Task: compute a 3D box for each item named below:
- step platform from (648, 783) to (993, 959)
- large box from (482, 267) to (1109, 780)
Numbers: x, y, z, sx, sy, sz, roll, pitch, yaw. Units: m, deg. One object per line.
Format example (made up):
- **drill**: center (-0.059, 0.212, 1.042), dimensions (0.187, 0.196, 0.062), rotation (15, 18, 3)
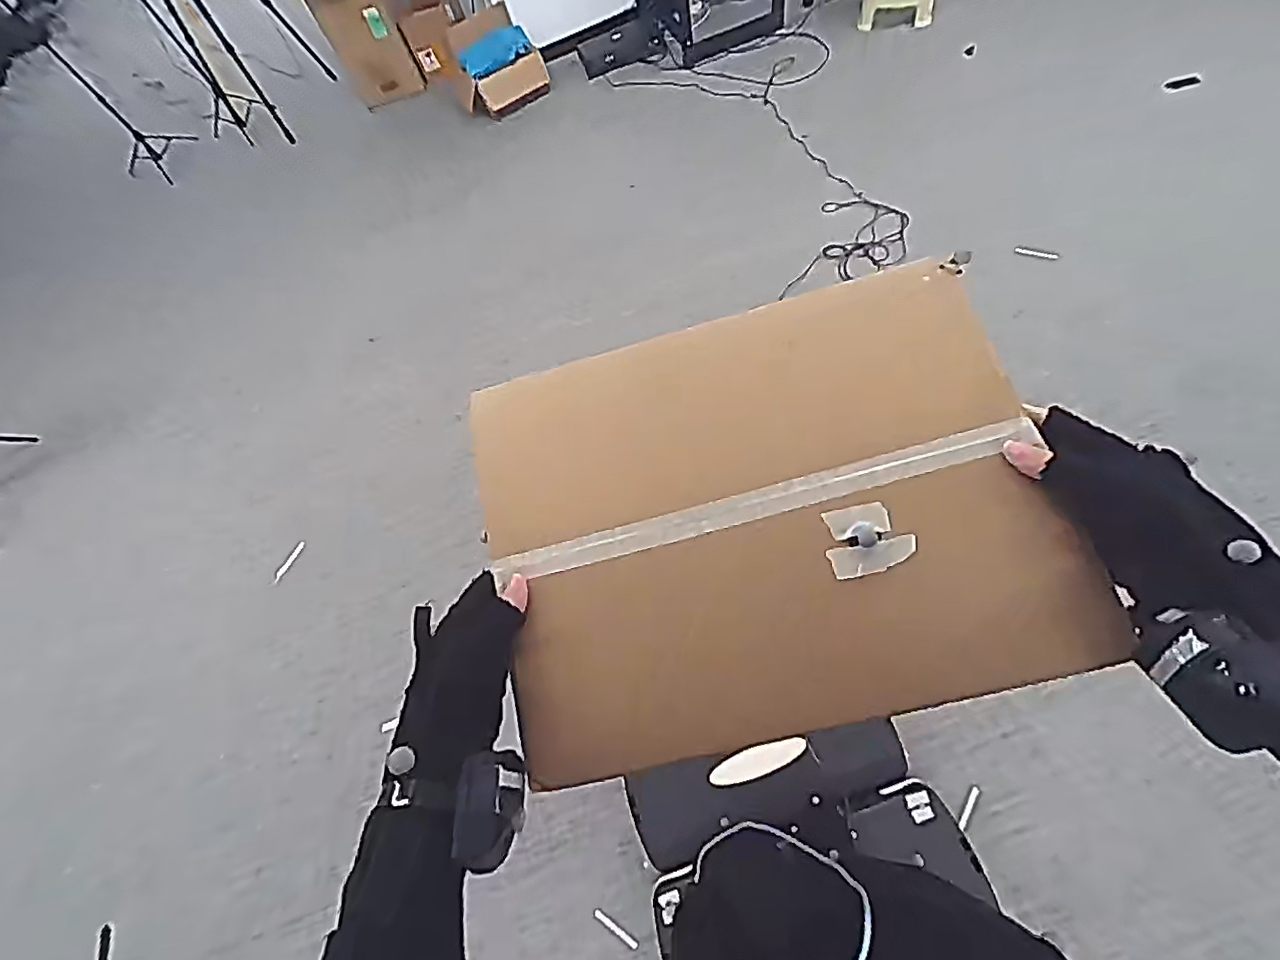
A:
- **step platform**: center (0.363, 0.921, 1.163), dimensions (0.684, 0.204, 0.286), rotation (-24, 60, 2)
- **large box**: center (0.108, 0.060, 0.556), dimensions (0.408, 0.320, 0.320), rotation (-16, 74, 5)
